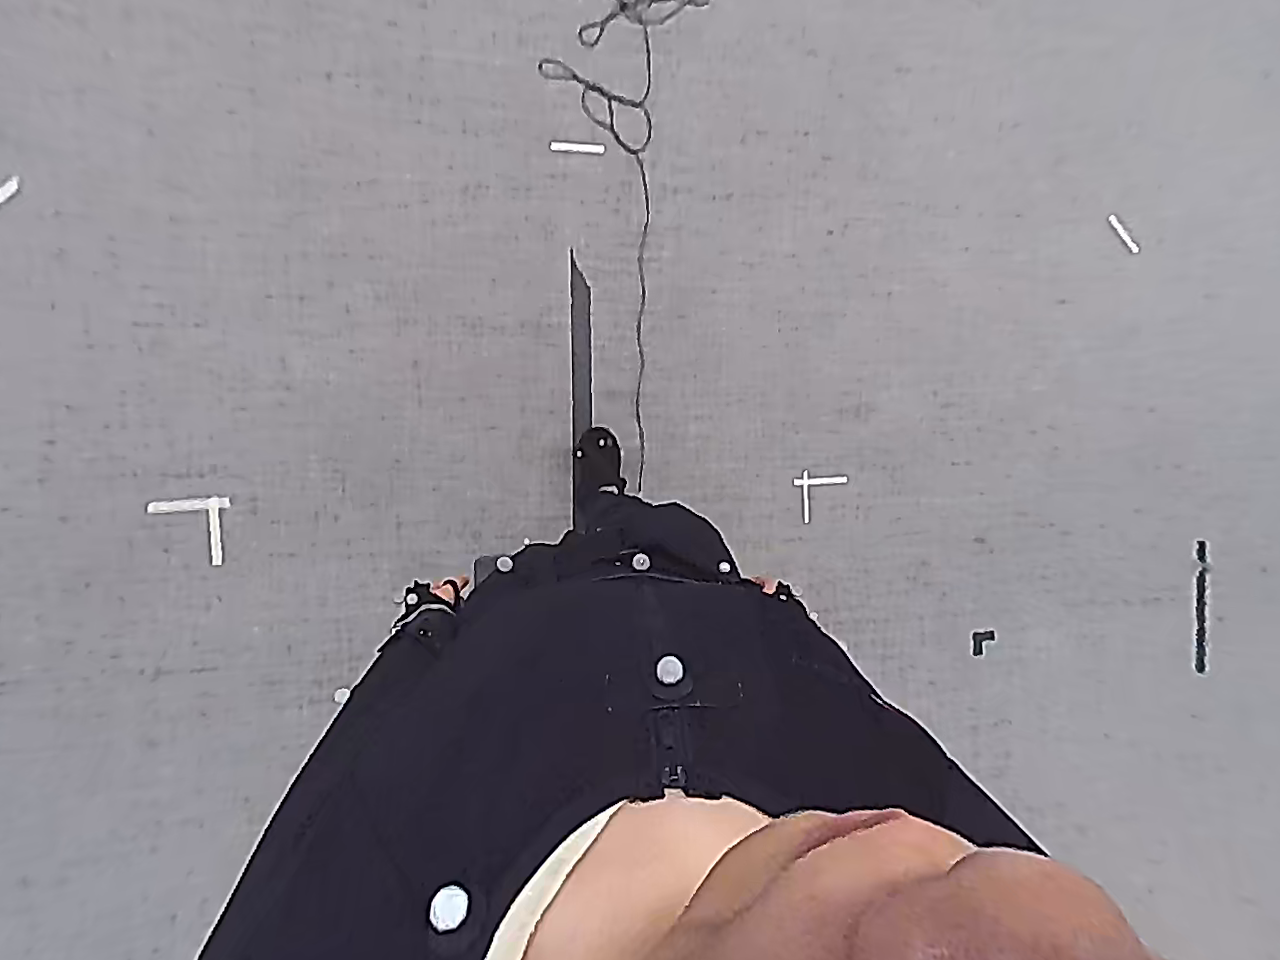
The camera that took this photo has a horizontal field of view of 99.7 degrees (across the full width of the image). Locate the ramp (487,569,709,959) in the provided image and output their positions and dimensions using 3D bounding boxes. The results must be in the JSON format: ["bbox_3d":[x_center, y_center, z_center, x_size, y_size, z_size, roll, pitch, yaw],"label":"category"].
[{"bbox_3d":[-0.110,0.724,1.270,0.509,0.206,0.991,-4,88,-6],"label":"ramp"}]
